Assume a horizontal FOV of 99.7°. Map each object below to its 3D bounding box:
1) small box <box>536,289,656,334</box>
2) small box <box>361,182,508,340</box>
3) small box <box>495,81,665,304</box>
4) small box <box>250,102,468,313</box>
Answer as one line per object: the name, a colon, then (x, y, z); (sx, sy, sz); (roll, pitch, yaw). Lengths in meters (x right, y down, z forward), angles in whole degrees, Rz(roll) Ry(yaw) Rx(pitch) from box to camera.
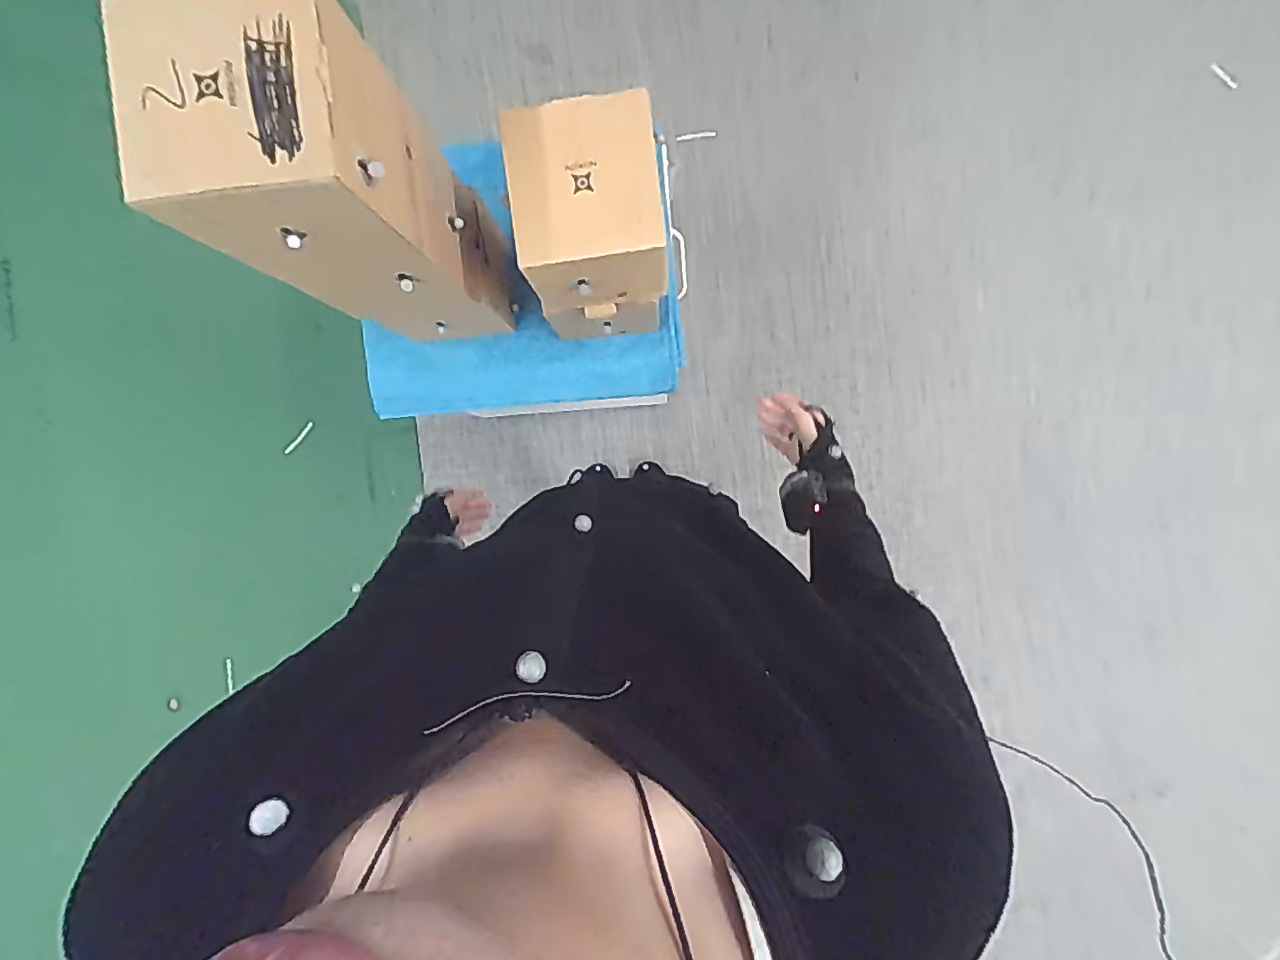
small box: (-0.063, -0.326, 0.815); (0.168, 0.176, 0.179); (-6, 92, 2)
small box: (-0.307, -0.320, 0.820); (0.179, 0.176, 0.168); (-6, 91, 2)
small box: (-0.060, -0.325, 0.652); (0.168, 0.176, 0.179); (-8, 90, 2)
small box: (-0.320, -0.314, 0.656); (0.179, 0.176, 0.168); (-6, 91, 2)
